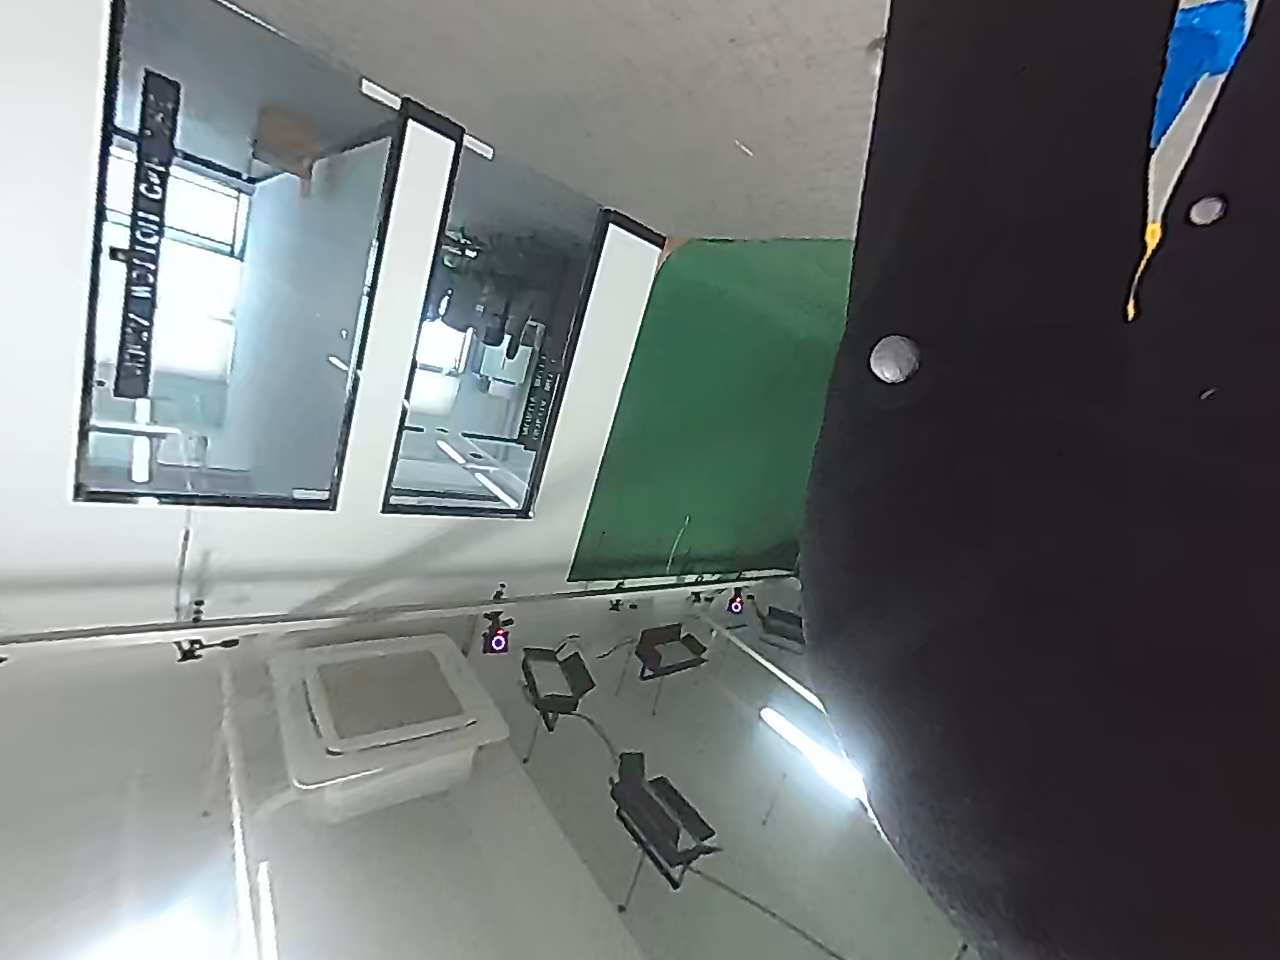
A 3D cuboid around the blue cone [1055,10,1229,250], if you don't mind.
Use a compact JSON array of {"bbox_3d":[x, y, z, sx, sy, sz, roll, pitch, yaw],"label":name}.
[{"bbox_3d":[0.915,-0.640,1.038,0.193,0.380,0.192,7,-164,-43],"label":"blue cone"}]
